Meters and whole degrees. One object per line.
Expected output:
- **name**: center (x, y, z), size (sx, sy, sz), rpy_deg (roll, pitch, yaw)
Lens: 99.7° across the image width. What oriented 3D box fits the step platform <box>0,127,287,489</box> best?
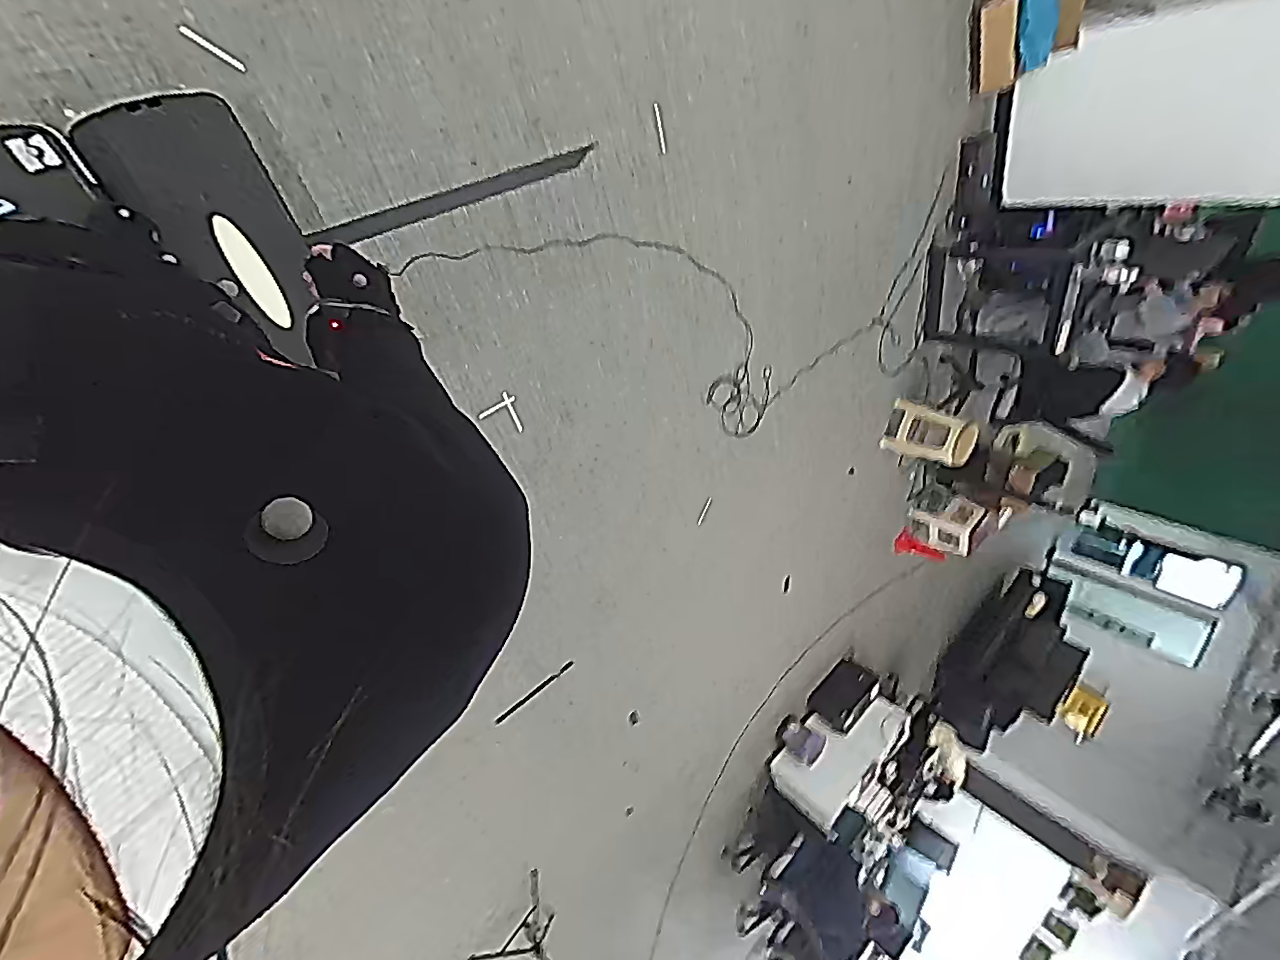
- **step platform**: center (-1.060, -0.313, 1.106), size (0.286, 0.204, 0.684), rpy_deg (-37, 129, -24)
